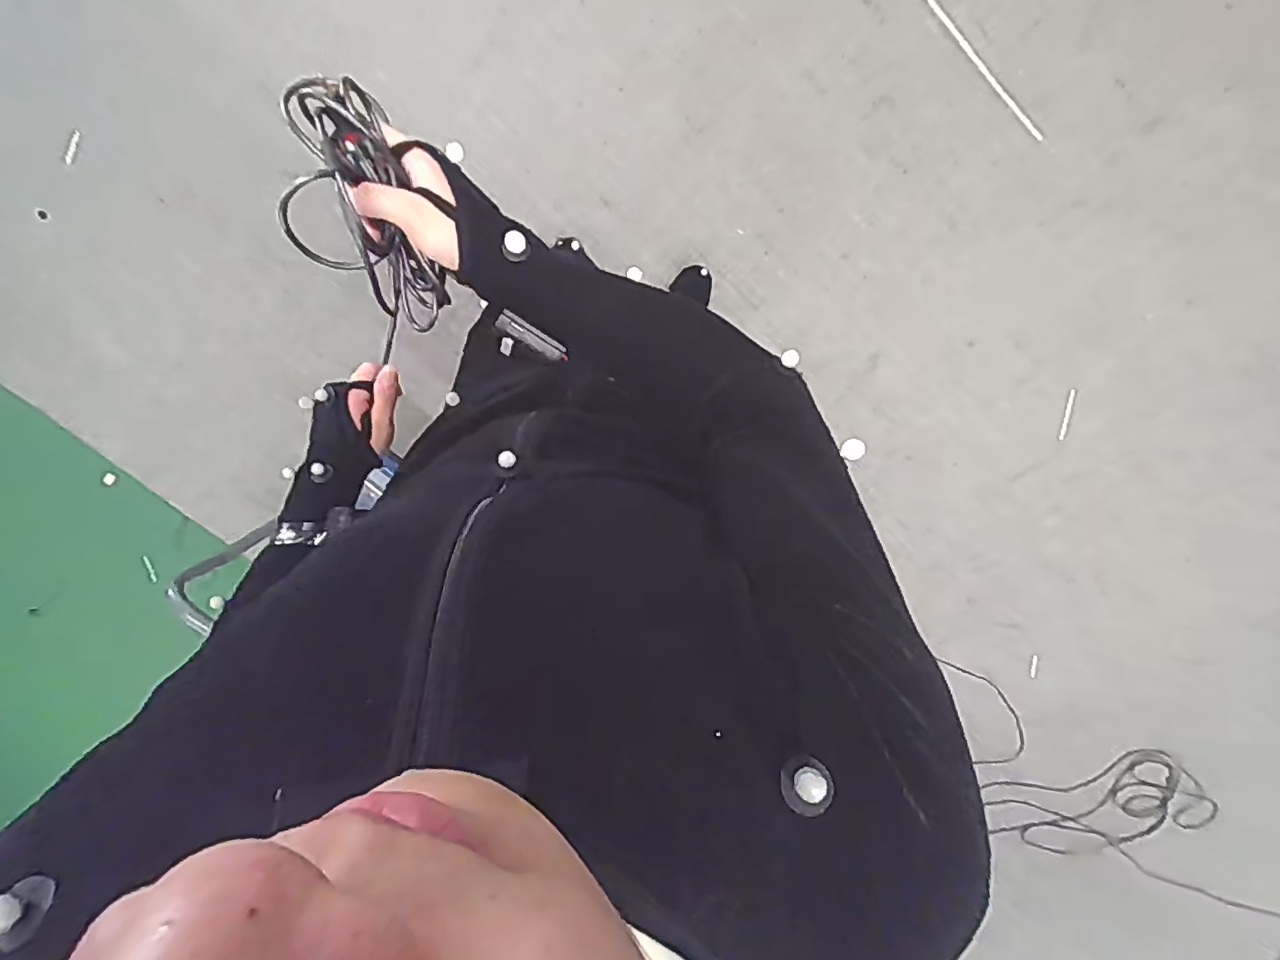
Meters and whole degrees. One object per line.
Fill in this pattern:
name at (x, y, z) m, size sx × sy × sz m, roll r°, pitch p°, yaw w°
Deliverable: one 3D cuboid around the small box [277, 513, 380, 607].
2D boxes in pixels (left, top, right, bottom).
small box at (-0.907, 0.231, 1.591) m, size 0.168 × 0.176 × 0.179 m, roll 42°, pitch 110°, yaw -12°
